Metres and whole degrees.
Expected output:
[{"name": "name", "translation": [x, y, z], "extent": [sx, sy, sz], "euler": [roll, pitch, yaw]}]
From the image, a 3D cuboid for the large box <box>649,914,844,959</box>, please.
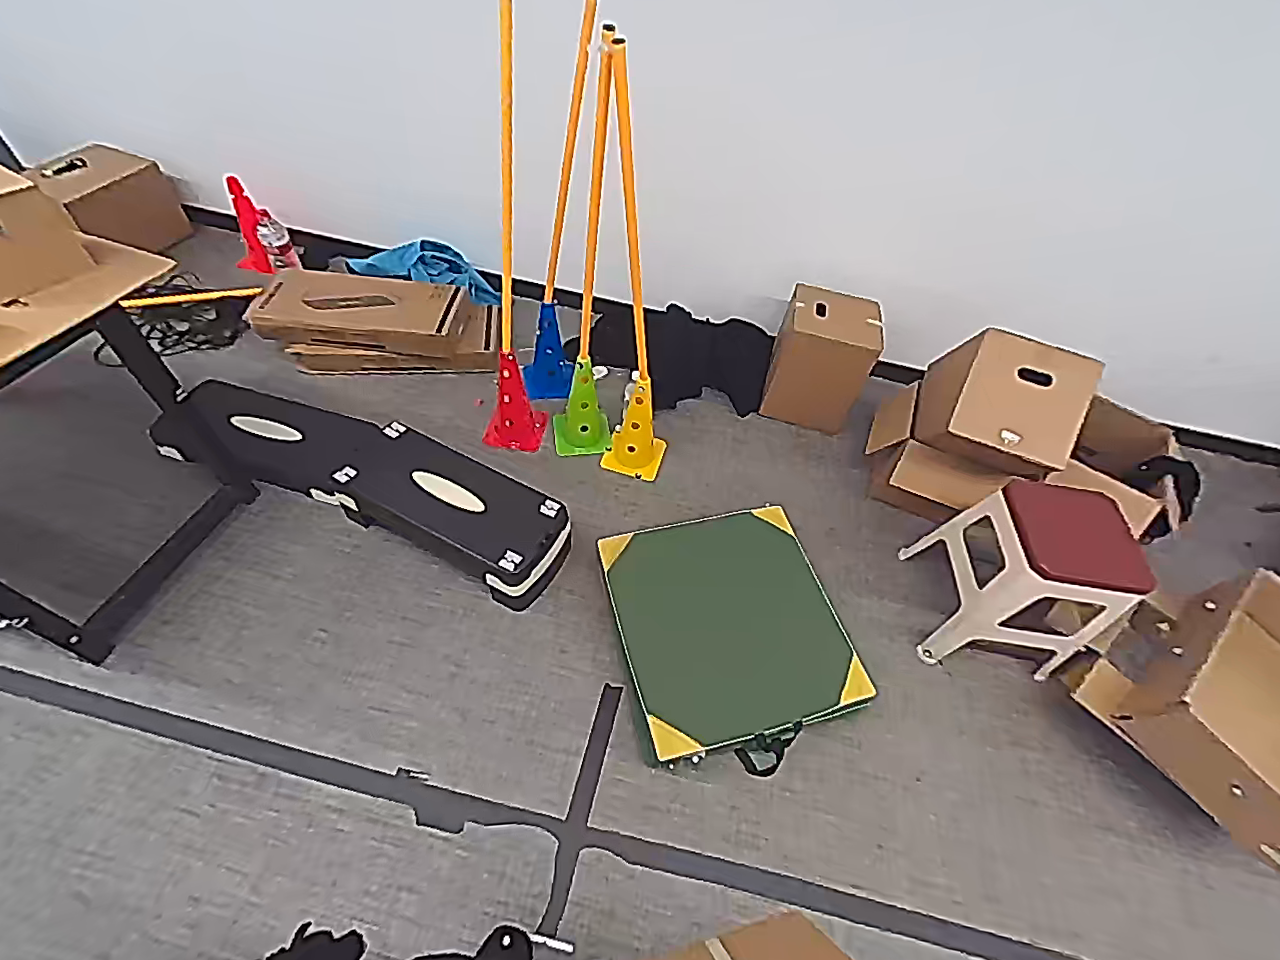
[{"name": "large box", "translation": [0.179, 0.812, 0.619], "extent": [0.320, 0.408, 0.320], "euler": [-6, 78, -16]}]
